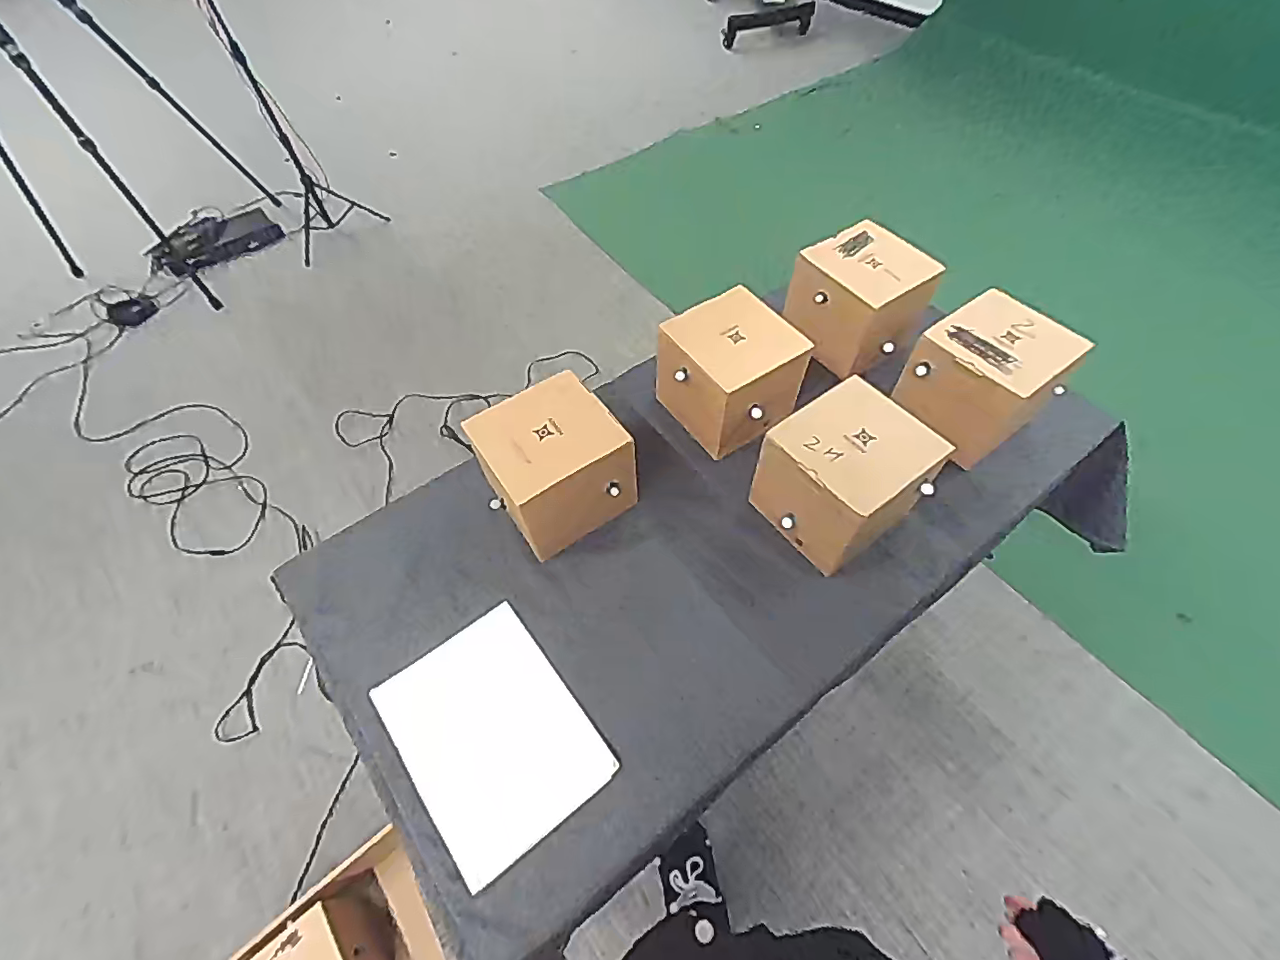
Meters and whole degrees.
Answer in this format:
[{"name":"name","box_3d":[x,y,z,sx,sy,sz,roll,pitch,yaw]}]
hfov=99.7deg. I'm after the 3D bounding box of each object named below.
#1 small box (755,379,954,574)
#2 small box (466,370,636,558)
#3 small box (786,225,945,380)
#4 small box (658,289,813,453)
[{"name":"small box","box_3d":[0.283,-0.002,0.756,0.179,0.176,0.168,-32,60,-17]},{"name":"small box","box_3d":[-0.121,-0.020,0.784,0.179,0.176,0.168,-30,60,-18]},{"name":"small box","box_3d":[0.383,-0.310,0.957,0.168,0.176,0.179,-30,61,-16]},{"name":"small box","box_3d":[0.145,-0.167,0.875,0.168,0.176,0.179,-30,60,-16]}]
